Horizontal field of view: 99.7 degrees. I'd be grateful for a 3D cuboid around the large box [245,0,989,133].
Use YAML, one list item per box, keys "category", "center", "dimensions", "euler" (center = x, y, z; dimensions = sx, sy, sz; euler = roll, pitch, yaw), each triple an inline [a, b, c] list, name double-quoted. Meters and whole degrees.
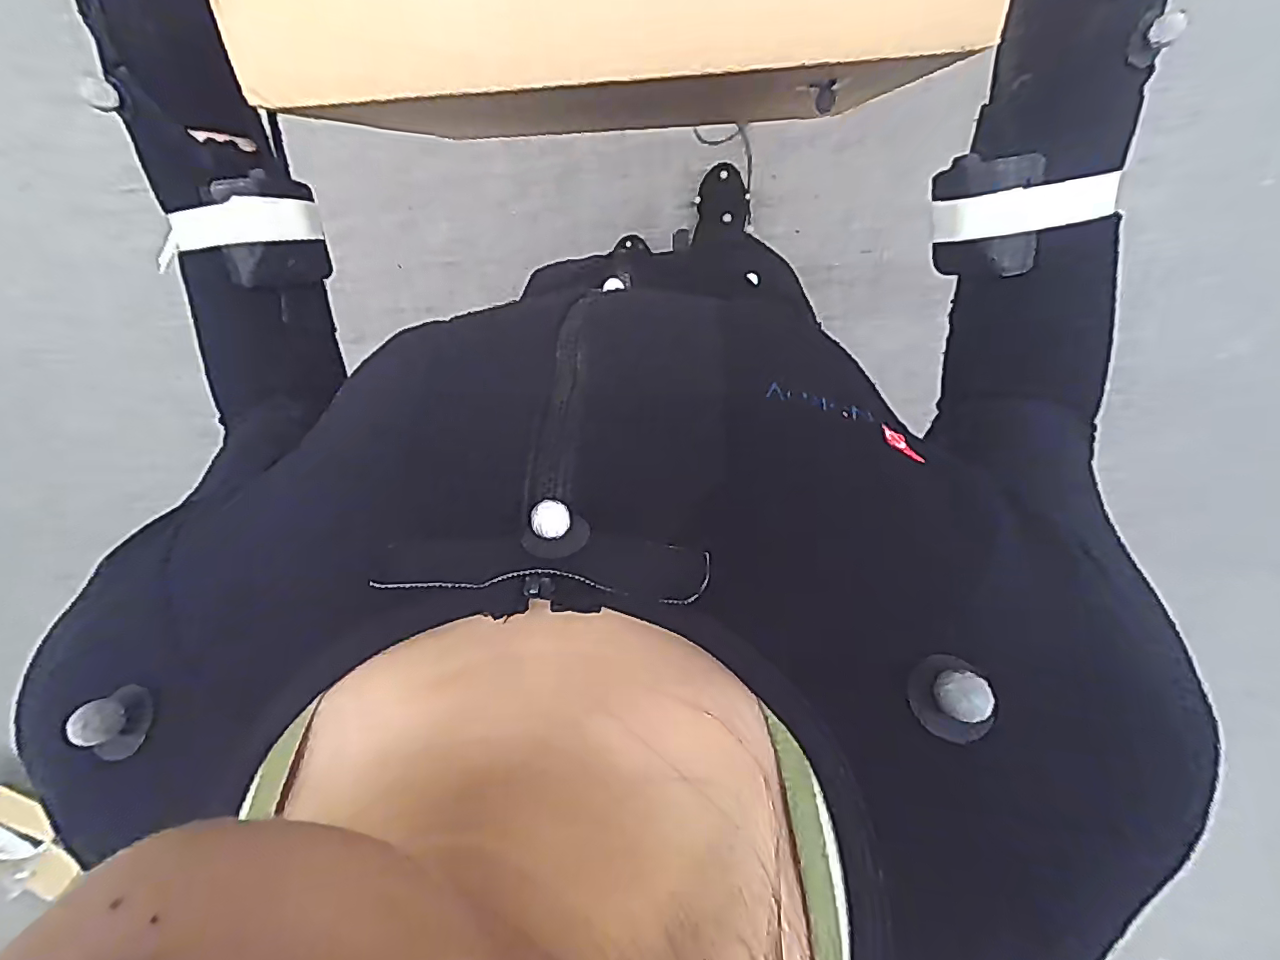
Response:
- category: "large box"
  center: [-0.015, -0.432, 0.356]
  dimensions: [0.408, 0.320, 0.320]
  euler: [-1, 119, 6]
